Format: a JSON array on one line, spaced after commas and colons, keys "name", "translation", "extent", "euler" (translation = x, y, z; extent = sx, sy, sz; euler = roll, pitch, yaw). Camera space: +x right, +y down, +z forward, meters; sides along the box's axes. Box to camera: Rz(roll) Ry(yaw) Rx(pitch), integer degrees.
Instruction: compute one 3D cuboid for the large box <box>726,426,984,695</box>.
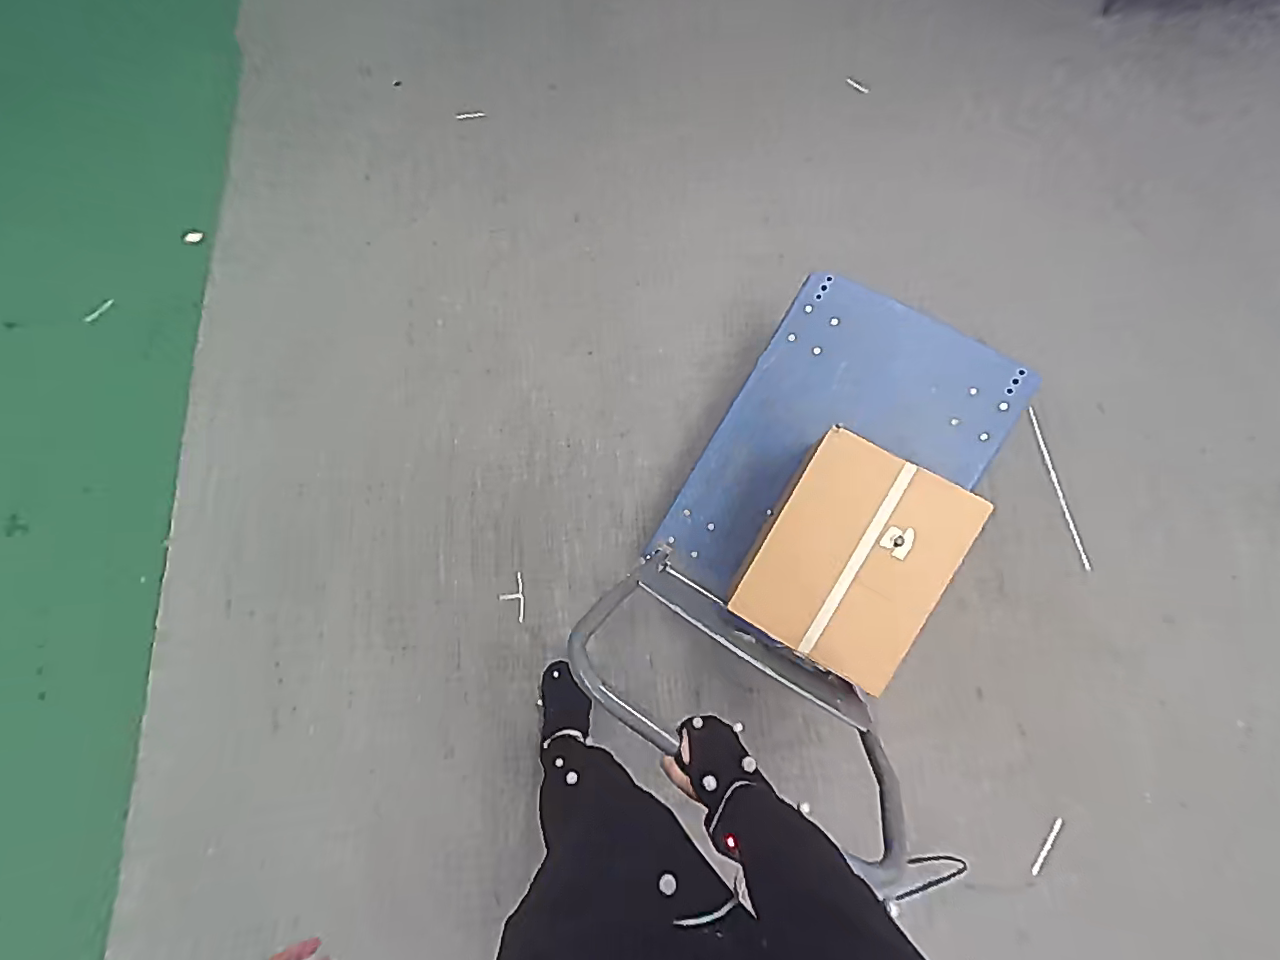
[{"name": "large box", "translation": [0.413, 0.153, 1.136], "extent": [0.320, 0.320, 0.408], "euler": [31, 93, 10]}]
